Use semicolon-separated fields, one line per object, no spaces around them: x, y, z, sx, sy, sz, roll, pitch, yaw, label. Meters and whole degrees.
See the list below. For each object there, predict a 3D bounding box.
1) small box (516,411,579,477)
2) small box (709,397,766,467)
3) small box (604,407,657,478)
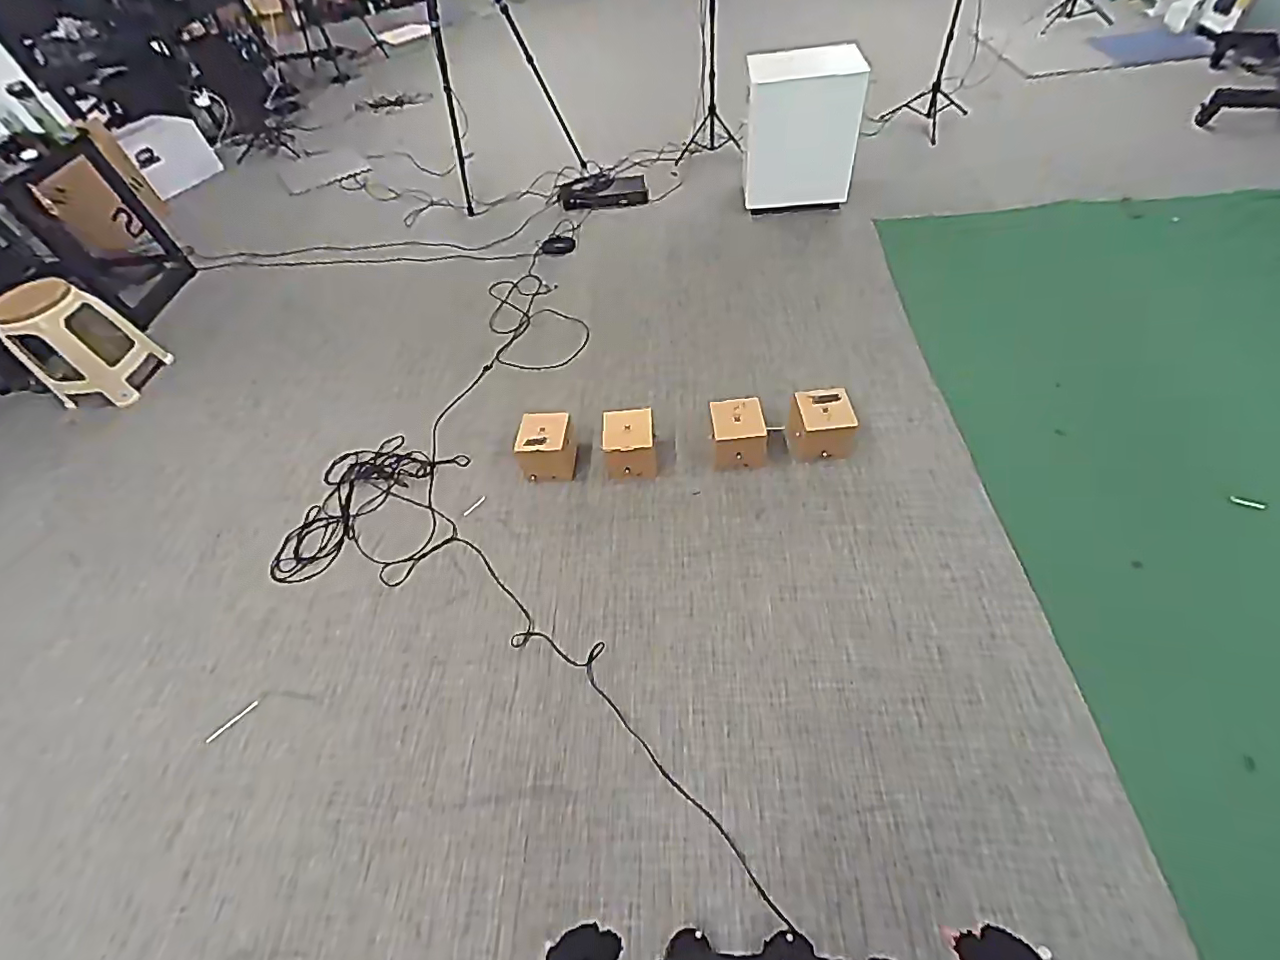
-0.319;-0.122;1.901;0.168;0.176;0.179;0;52;7;small box
0.328;-0.157;1.842;0.168;0.176;0.179;-5;52;3;small box
-0.029;-0.127;1.868;0.168;0.176;0.179;-4;53;4;small box
